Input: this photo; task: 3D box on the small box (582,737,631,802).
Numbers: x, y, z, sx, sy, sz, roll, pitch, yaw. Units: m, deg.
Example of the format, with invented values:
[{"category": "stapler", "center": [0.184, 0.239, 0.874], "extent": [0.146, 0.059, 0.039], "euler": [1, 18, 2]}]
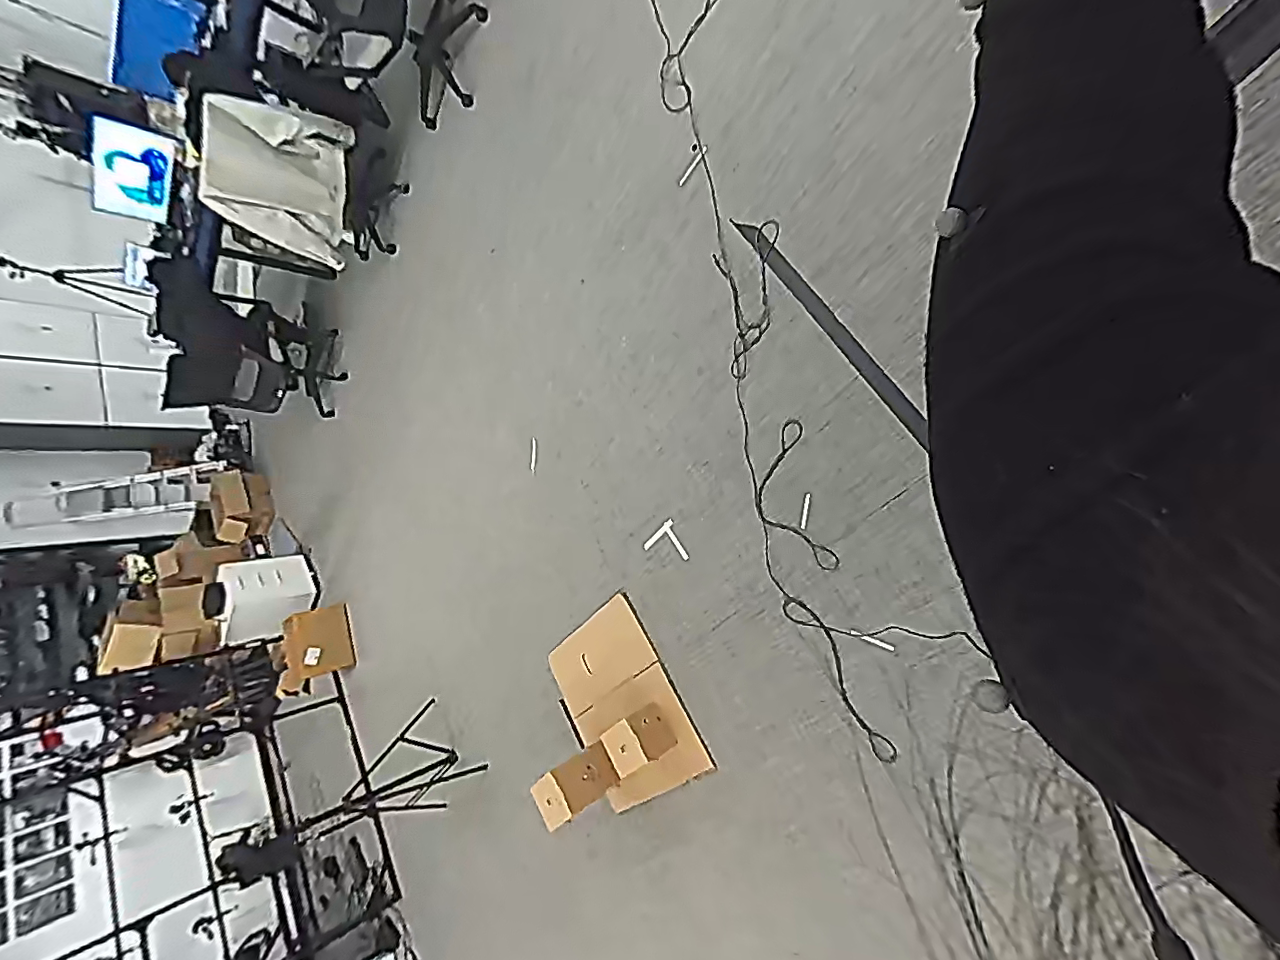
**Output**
[{"category": "small box", "center": [-0.155, 1.120, 2.112], "extent": [0.168, 0.176, 0.179], "euler": [53, 123, 26]}]

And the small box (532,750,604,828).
[{"category": "small box", "center": [-0.263, 1.132, 1.988], "extent": [0.168, 0.176, 0.179], "euler": [54, 124, 24]}]

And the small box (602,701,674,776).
[{"category": "small box", "center": [-0.001, 0.935, 1.965], "extent": [0.179, 0.176, 0.168], "euler": [-49, 61, 33]}]
